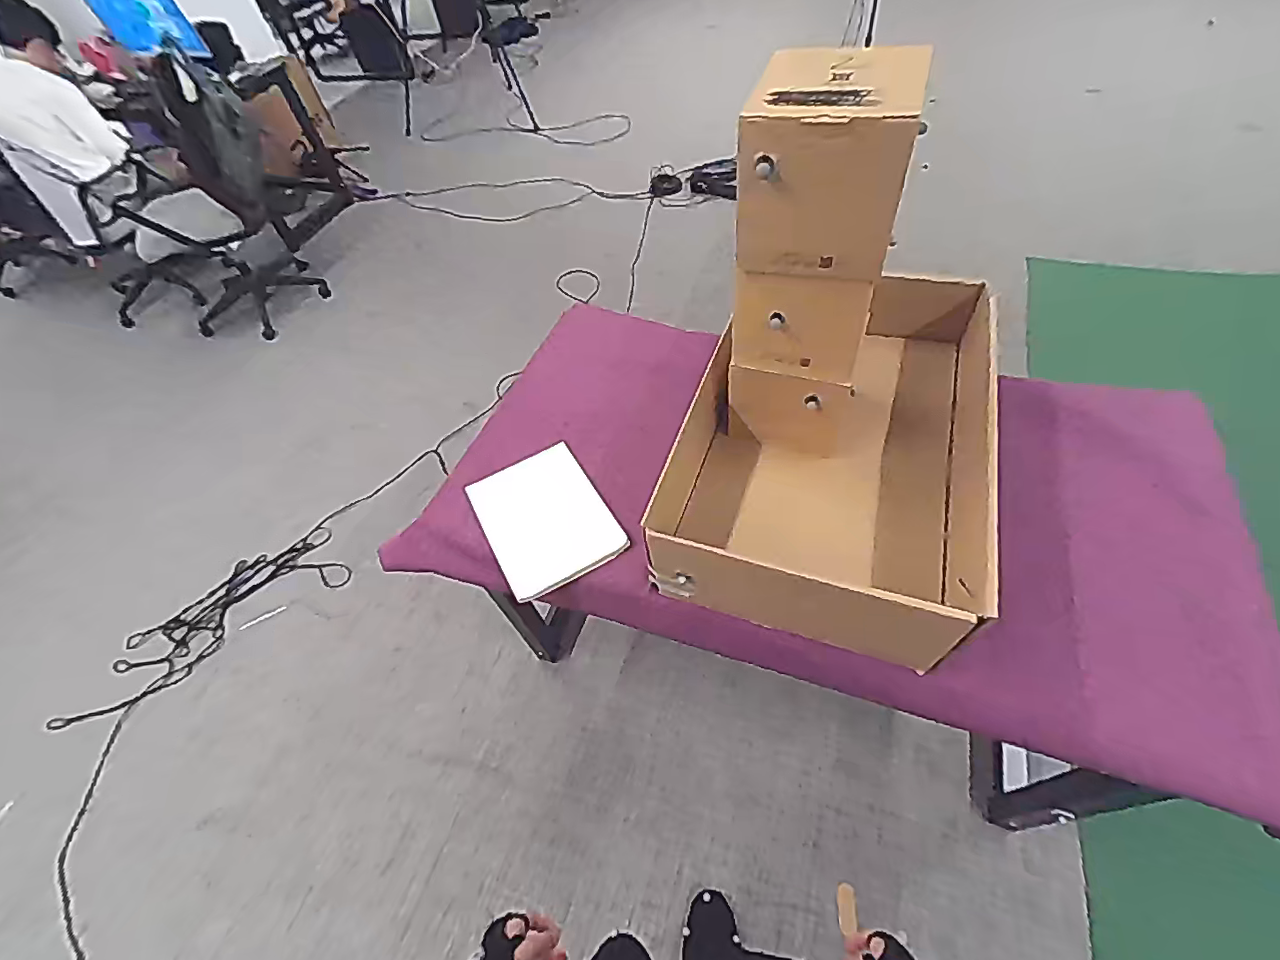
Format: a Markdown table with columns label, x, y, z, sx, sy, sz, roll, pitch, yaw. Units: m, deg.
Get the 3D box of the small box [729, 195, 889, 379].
| label | x | y | z | sx | sy | sz | roll | pitch | yaw |
| --- | --- | --- | --- | --- | --- | --- | --- | --- | --- |
| small box | 0.229 | -0.264 | 0.748 | 0.168 | 0.176 | 0.179 | 14 | 57 | 19 |
